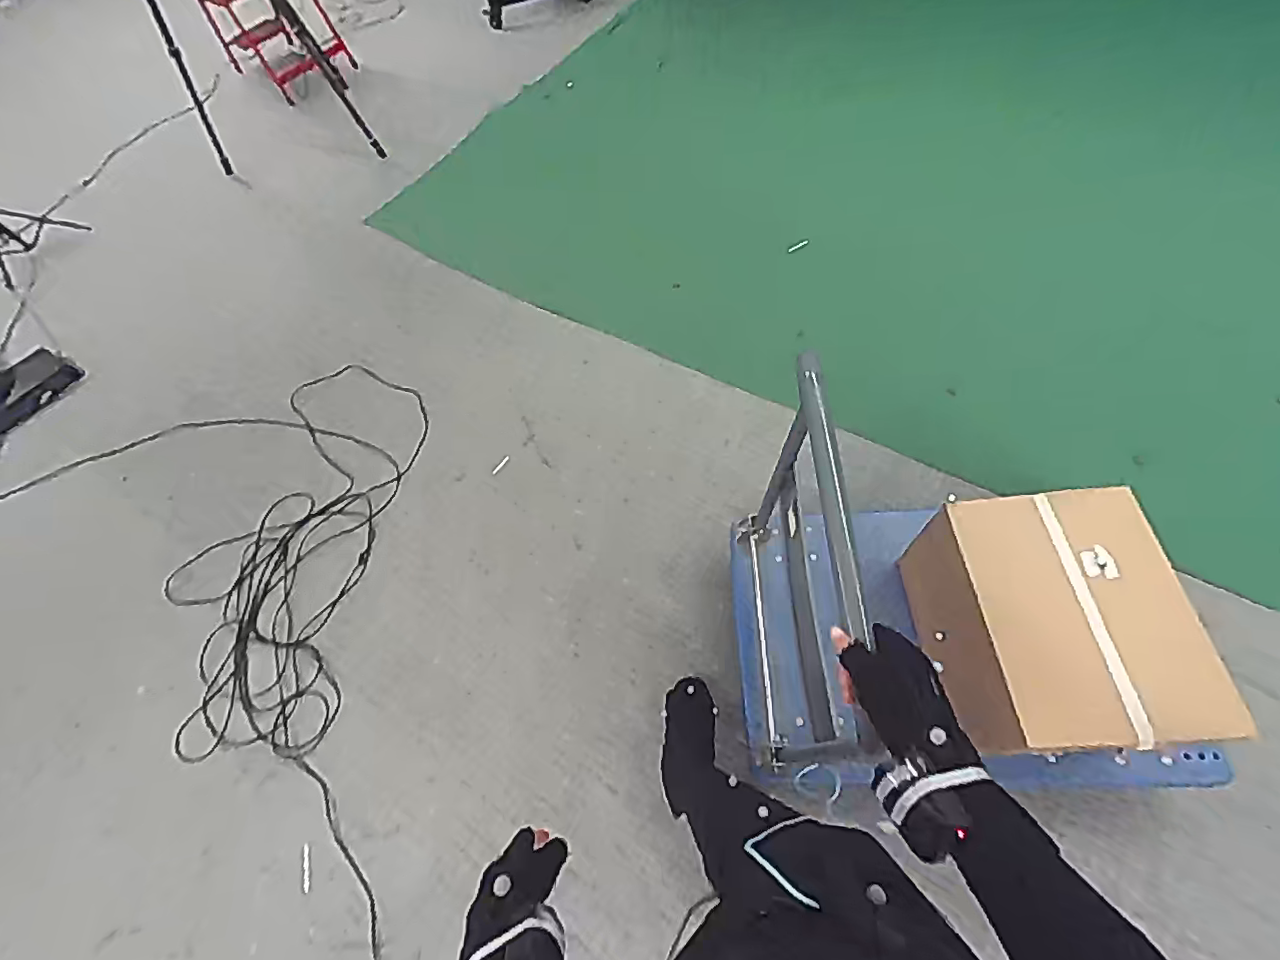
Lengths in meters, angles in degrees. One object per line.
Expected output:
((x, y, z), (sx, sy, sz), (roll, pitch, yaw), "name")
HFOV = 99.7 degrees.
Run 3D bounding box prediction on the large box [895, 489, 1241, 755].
((0.723, 0.275, 1.012), (0.320, 0.320, 0.408), (-5, 60, 5), "large box")
